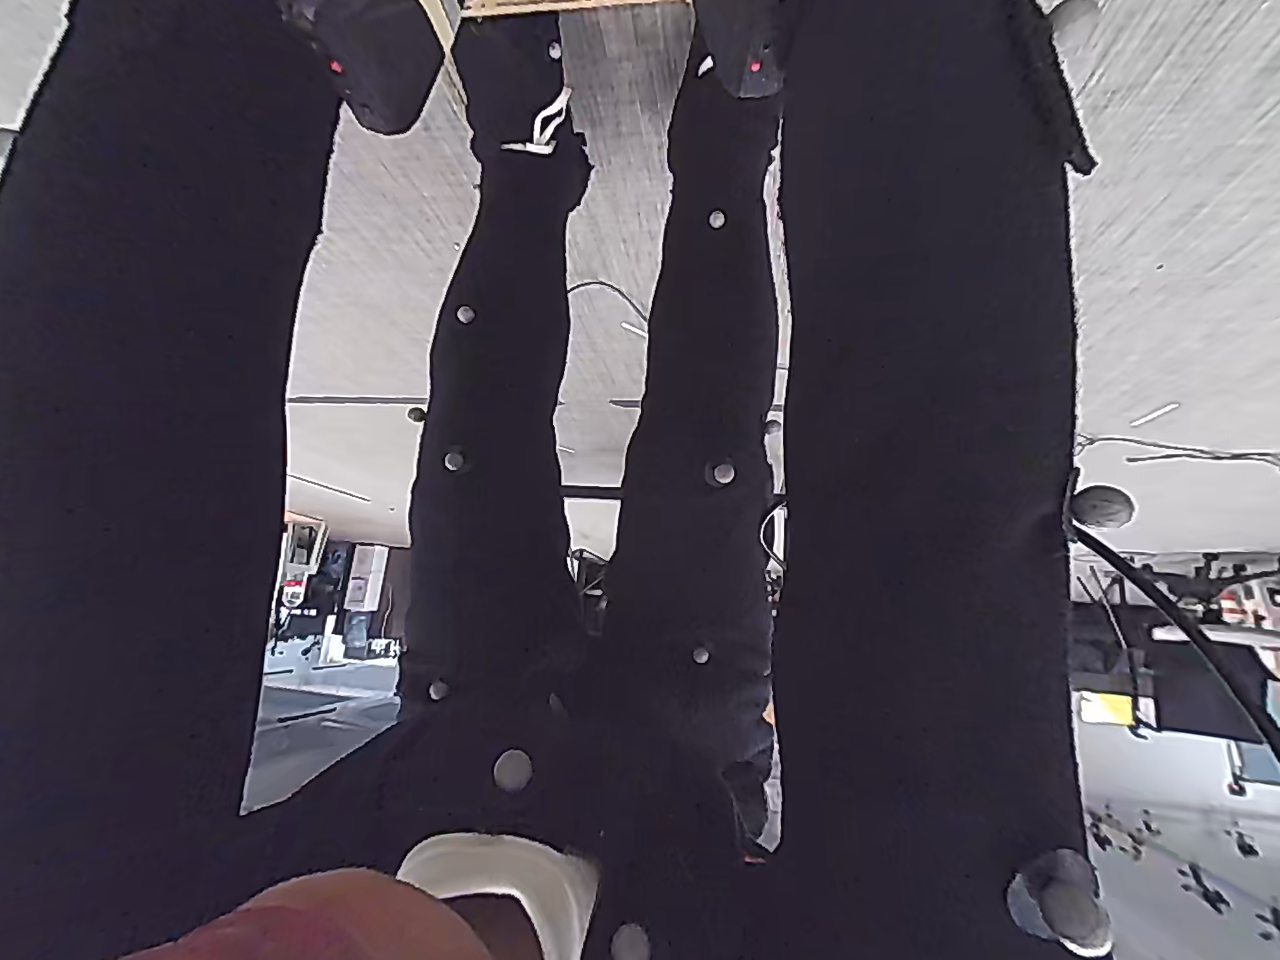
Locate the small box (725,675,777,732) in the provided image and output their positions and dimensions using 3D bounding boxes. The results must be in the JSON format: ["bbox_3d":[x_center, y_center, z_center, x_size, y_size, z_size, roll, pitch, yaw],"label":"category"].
[{"bbox_3d":[0.412,0.823,2.010,0.168,0.176,0.179,4,165,3],"label":"small box"}]
